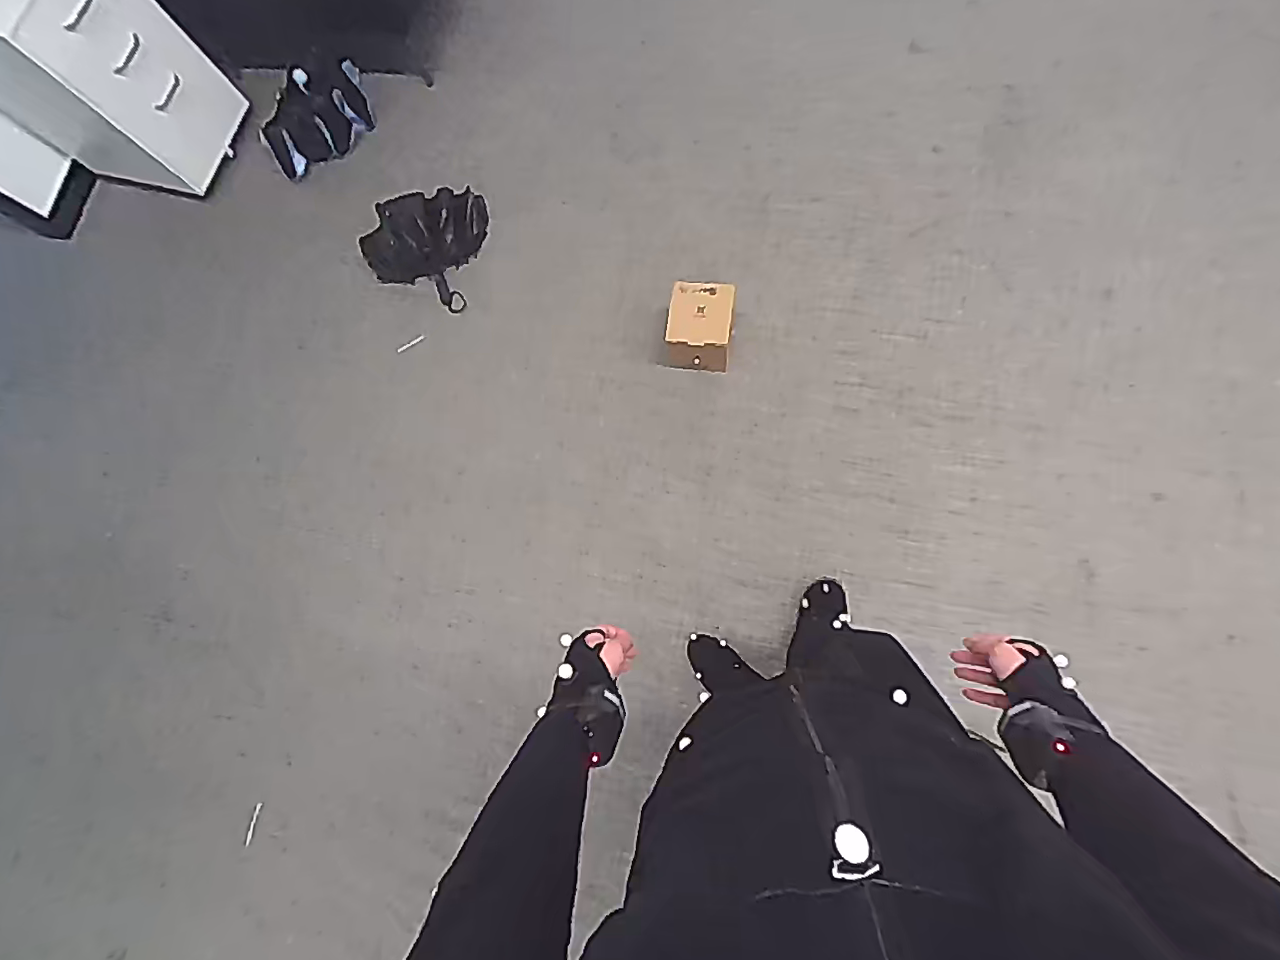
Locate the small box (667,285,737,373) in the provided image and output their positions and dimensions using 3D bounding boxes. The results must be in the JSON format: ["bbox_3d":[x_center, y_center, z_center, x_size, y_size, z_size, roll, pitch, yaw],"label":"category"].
[{"bbox_3d":[0.176,-0.410,1.487,0.168,0.176,0.179,7,79,10],"label":"small box"}]
